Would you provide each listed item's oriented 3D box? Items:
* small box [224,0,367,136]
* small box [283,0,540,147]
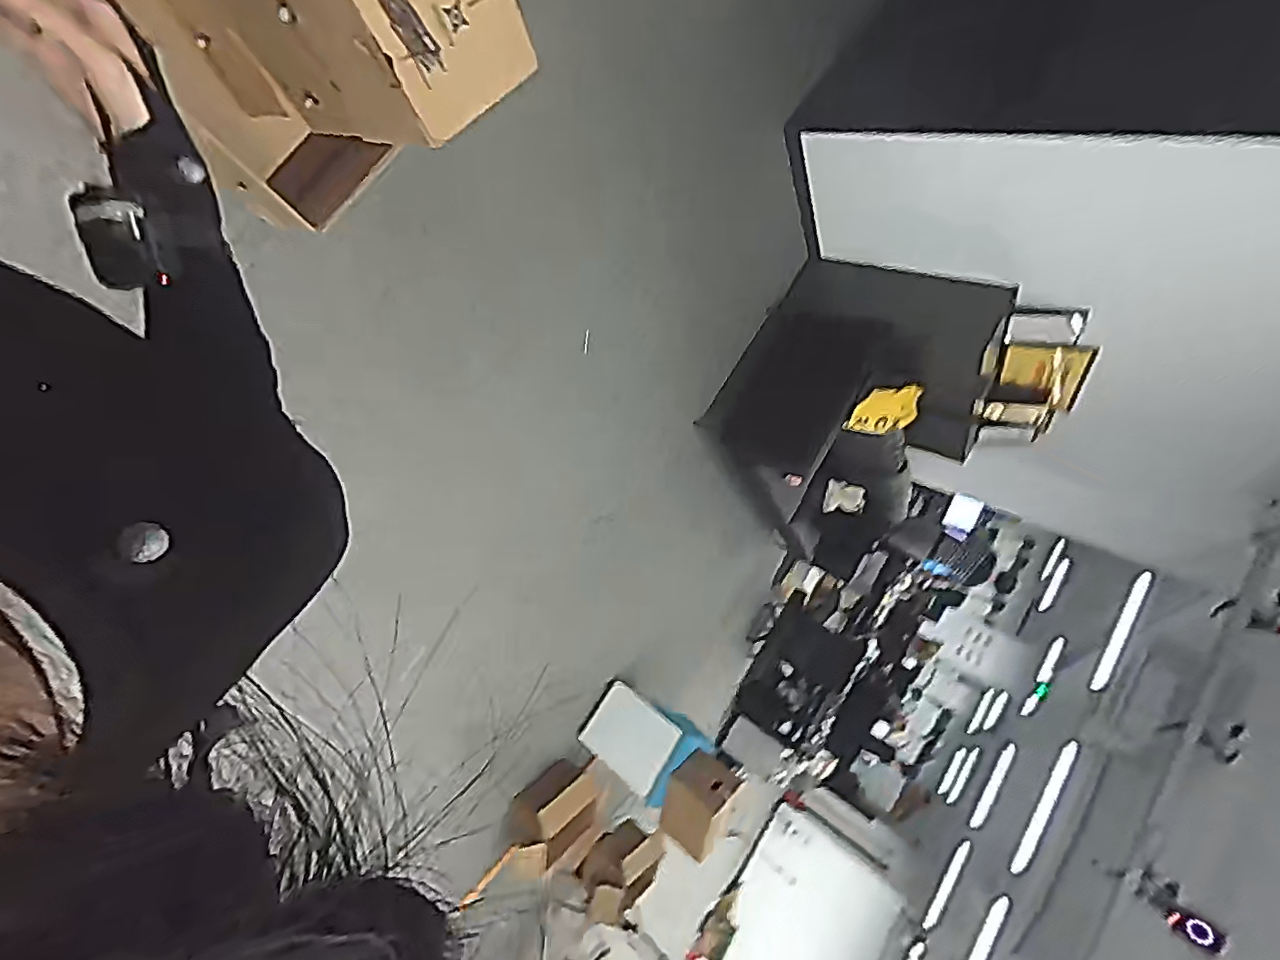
[{"bbox_3d":[-0.372,-0.561,0.672,0.179,0.176,0.168,-52,146,-16],"label":"small box"},{"bbox_3d":[-0.250,-0.493,0.587,0.179,0.176,0.168,-51,146,-18],"label":"small box"}]
